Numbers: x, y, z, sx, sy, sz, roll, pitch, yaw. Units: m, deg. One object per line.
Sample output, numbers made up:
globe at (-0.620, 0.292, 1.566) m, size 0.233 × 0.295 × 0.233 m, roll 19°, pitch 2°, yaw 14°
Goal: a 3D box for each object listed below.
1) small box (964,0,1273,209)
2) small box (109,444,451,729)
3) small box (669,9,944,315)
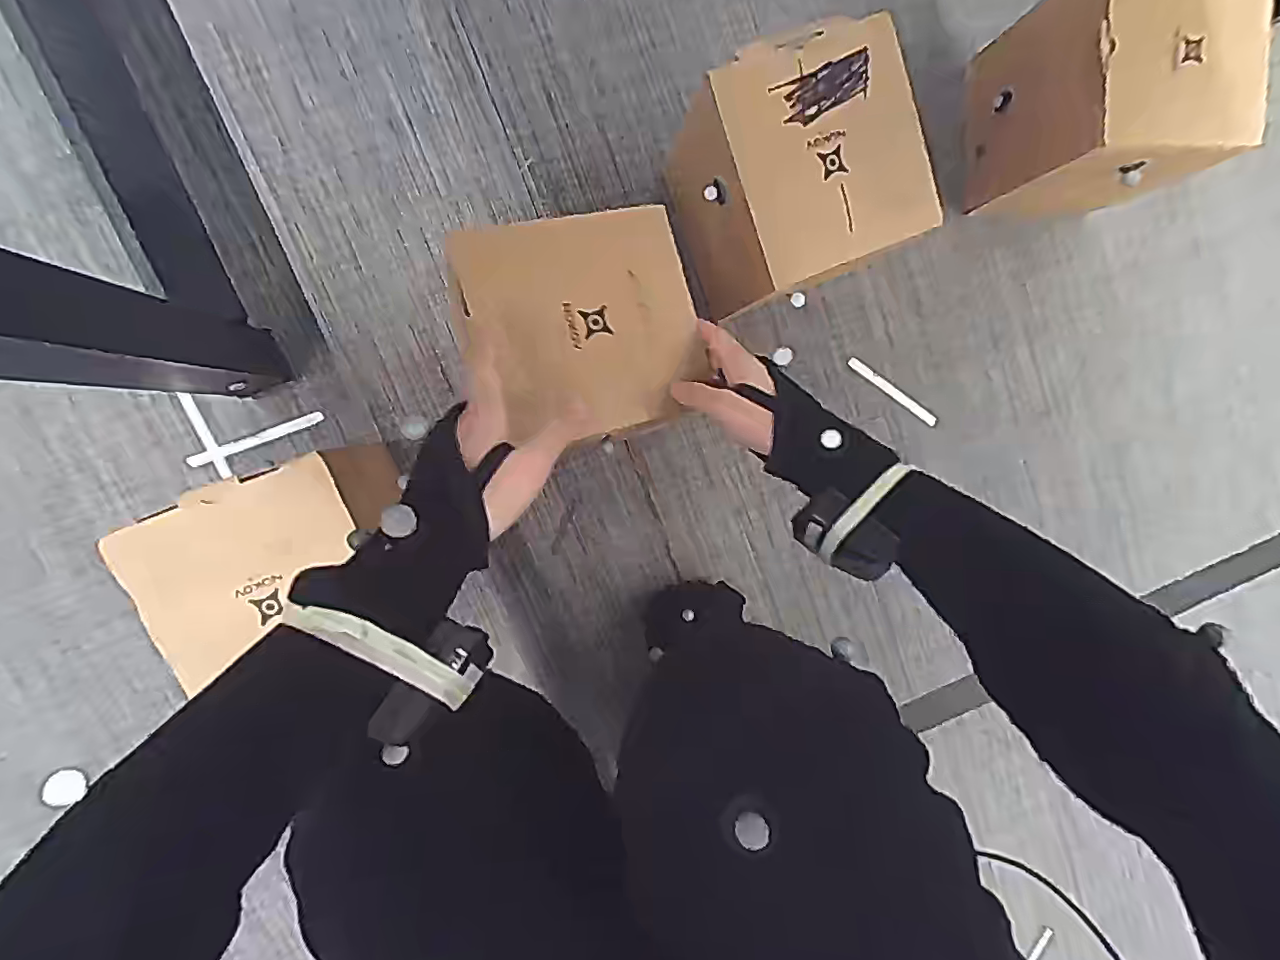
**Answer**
small box at (0.476, -0.396, 0.559) m, size 0.179 × 0.176 × 0.168 m, roll -5°, pitch 97°, yaw -8°
small box at (-0.292, 0.076, 0.488) m, size 0.168 × 0.176 × 0.179 m, roll -22°, pitch 98°, yaw -7°
small box at (0.142, -0.279, 0.516) m, size 0.168 × 0.176 × 0.179 m, roll -23°, pitch 100°, yaw -6°
